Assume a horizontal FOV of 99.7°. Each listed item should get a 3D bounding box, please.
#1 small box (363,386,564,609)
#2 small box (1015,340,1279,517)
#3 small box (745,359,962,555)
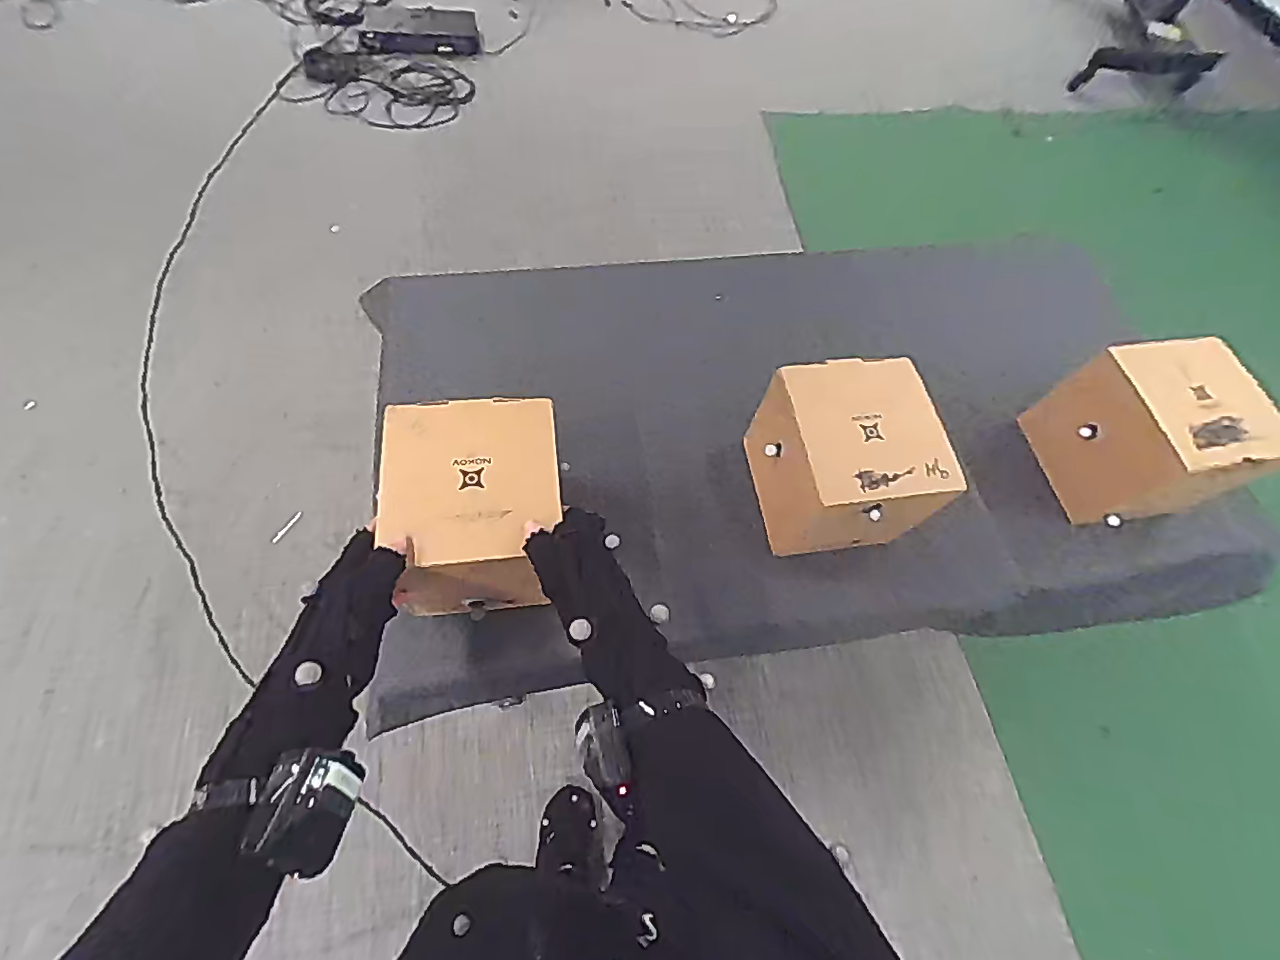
[{"bbox_3d":[-0.165,0.022,0.562,0.168,0.176,0.179,-2,63,-9],"label":"small box"},{"bbox_3d":[0.656,-0.059,0.717,0.168,0.176,0.179,-6,64,-8],"label":"small box"},{"bbox_3d":[0.240,-0.024,0.664,0.168,0.176,0.179,-6,65,-8],"label":"small box"}]
